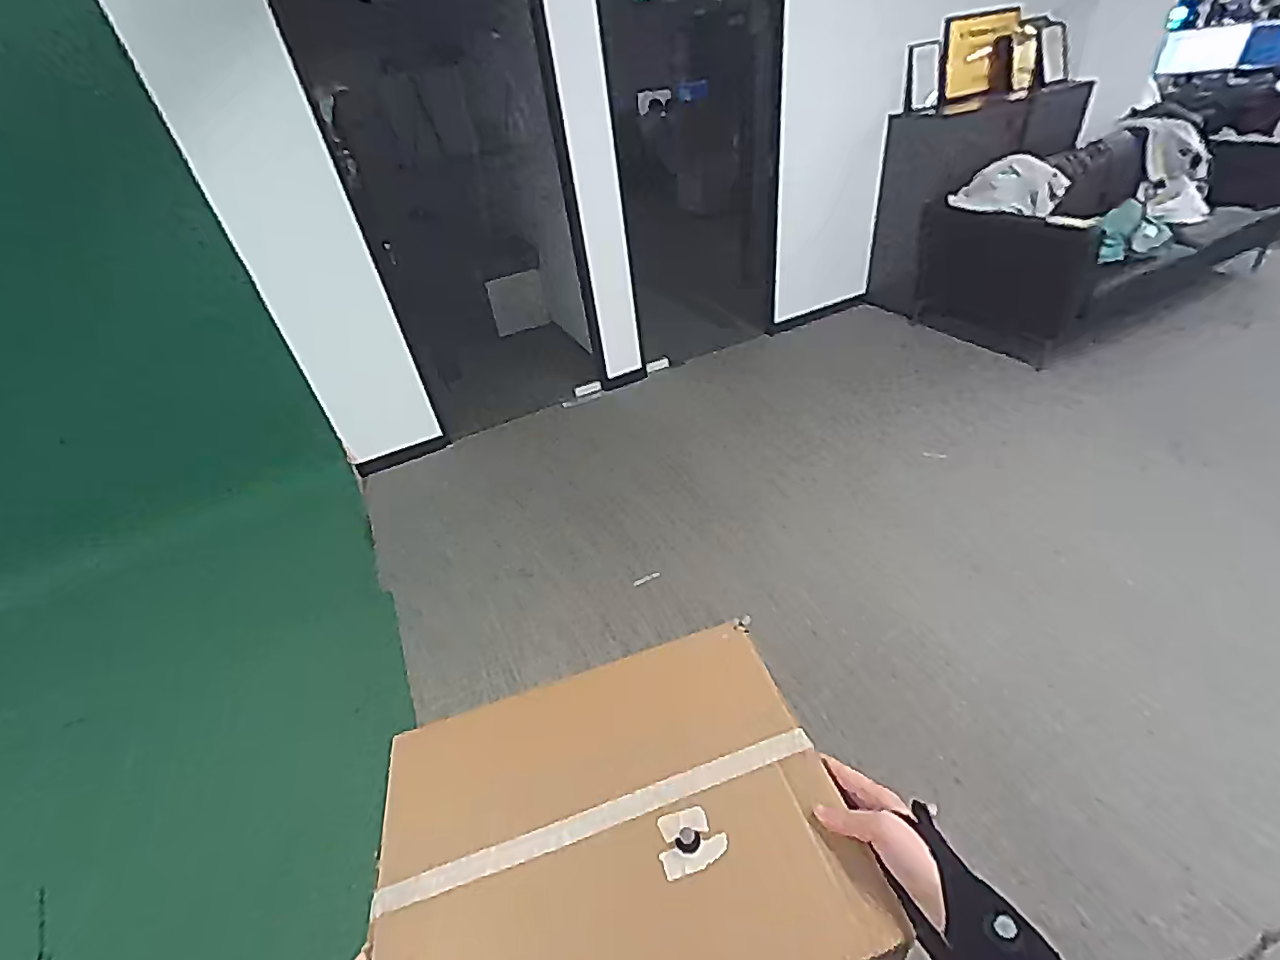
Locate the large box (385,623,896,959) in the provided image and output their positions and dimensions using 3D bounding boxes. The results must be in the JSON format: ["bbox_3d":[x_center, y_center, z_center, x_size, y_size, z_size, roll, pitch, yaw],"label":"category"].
[{"bbox_3d":[-0.011,0.427,0.586,0.408,0.320,0.320,-16,36,-9],"label":"large box"}]
